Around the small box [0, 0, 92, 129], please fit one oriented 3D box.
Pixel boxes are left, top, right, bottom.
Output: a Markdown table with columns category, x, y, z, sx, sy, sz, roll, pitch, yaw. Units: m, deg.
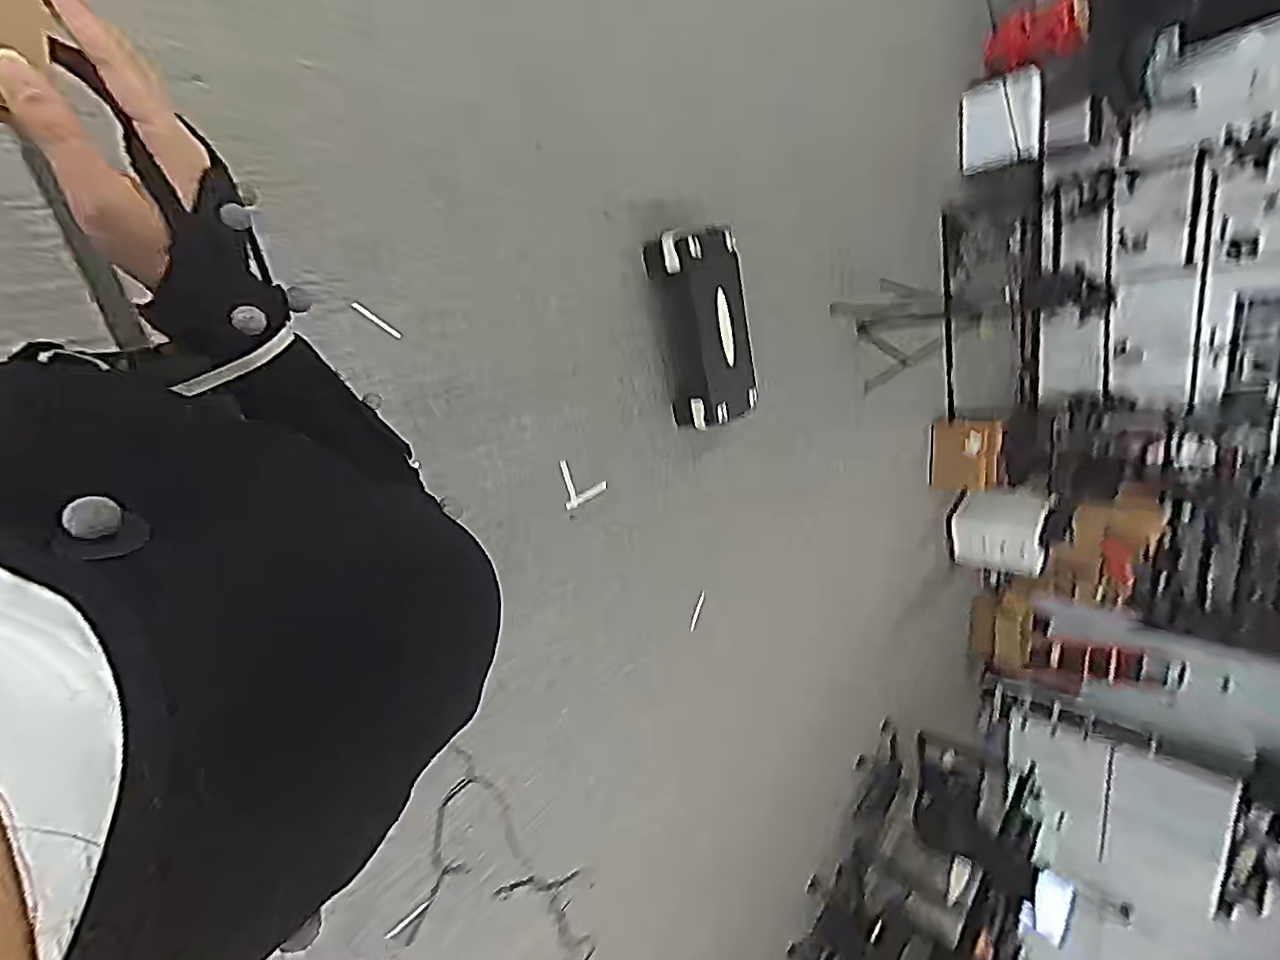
| category | x | y | z | sx | sy | sz | roll | pitch | yaw |
| --- | --- | --- | --- | --- | --- | --- | --- | --- | --- |
| small box | -0.337 | -0.253 | 0.194 | 0.168 | 0.176 | 0.179 | -12 | 120 | -50 |

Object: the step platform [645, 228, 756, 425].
| category | x | y | z | sx | sy | sz | roll | pitch | yaw |
| --- | --- | --- | --- | --- | --- | --- | --- | --- | --- |
| step platform | 0.237 | -0.550 | 1.989 | 0.286 | 0.204 | 0.684 | -29 | 114 | -39 |
